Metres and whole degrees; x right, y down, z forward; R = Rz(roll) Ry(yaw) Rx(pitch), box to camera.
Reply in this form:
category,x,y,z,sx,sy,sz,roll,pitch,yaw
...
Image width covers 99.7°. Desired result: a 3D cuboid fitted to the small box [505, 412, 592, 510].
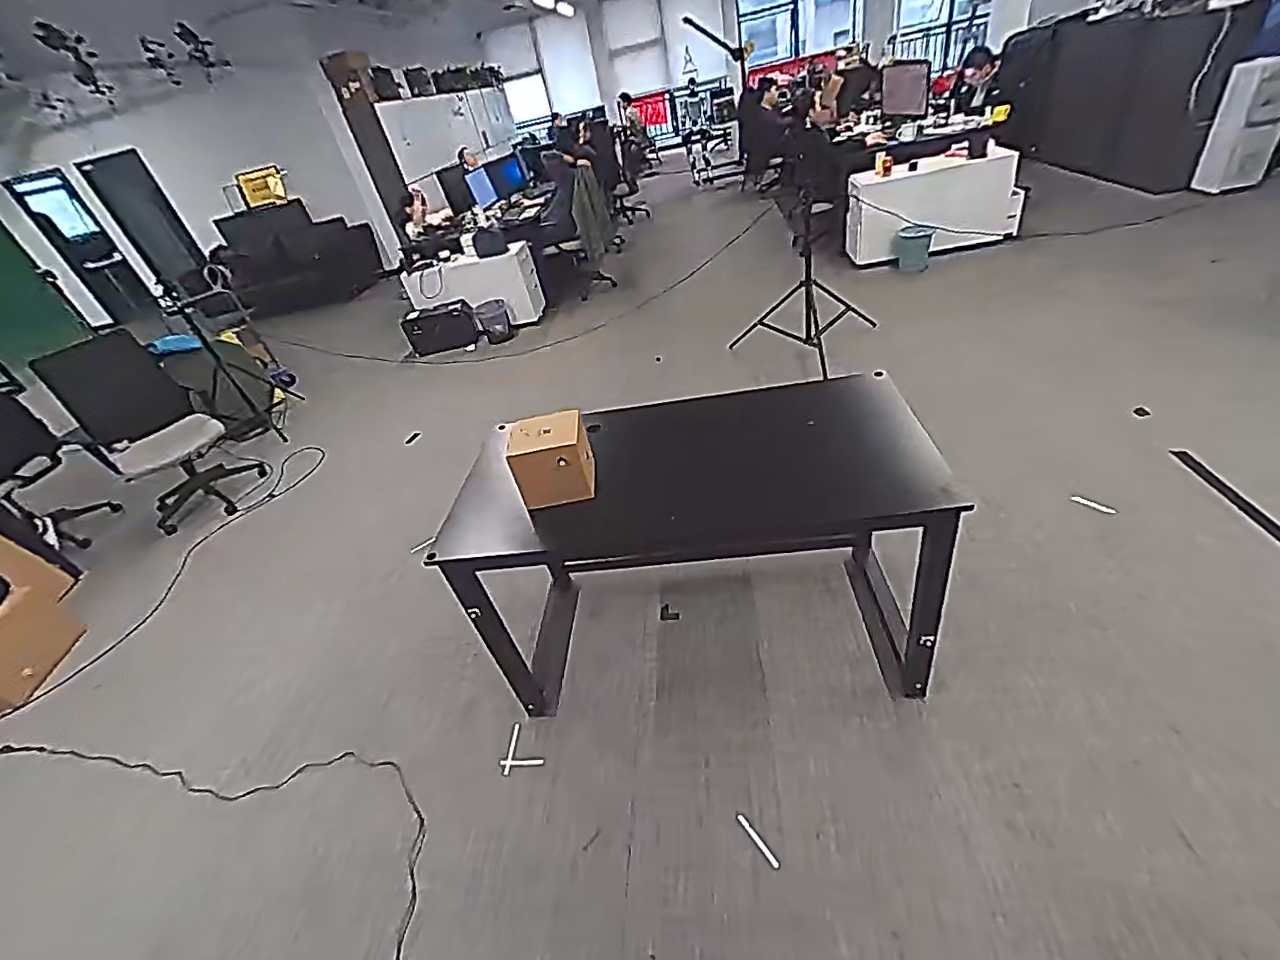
category,x,y,z,sx,sy,sz,roll,pitch,yaw
small box,-0.222,-0.047,1.373,0.179,0.176,0.168,-11,36,4
